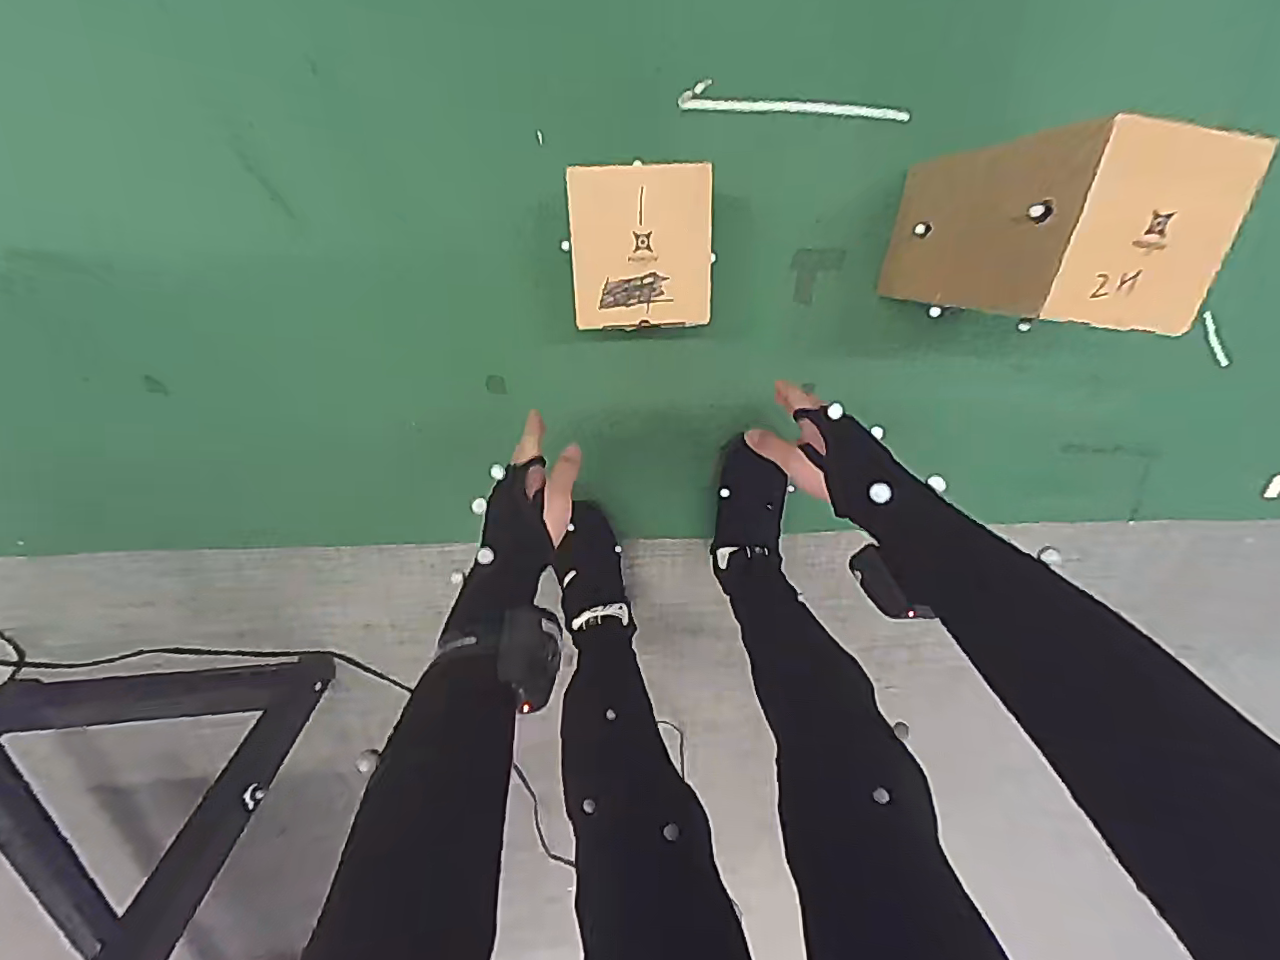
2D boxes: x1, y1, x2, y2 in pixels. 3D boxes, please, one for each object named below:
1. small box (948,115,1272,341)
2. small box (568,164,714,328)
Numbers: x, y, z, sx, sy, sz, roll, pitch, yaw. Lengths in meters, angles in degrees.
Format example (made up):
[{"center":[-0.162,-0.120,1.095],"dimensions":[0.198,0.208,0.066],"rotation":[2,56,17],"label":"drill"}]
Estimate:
[{"center":[0.472,-0.260,0.580],"dimensions":[0.168,0.176,0.179],"rotation":[5,113,-7],"label":"small box"},{"center":[-0.002,-0.300,0.702],"dimensions":[0.168,0.176,0.179],"rotation":[-3,113,-4],"label":"small box"}]
